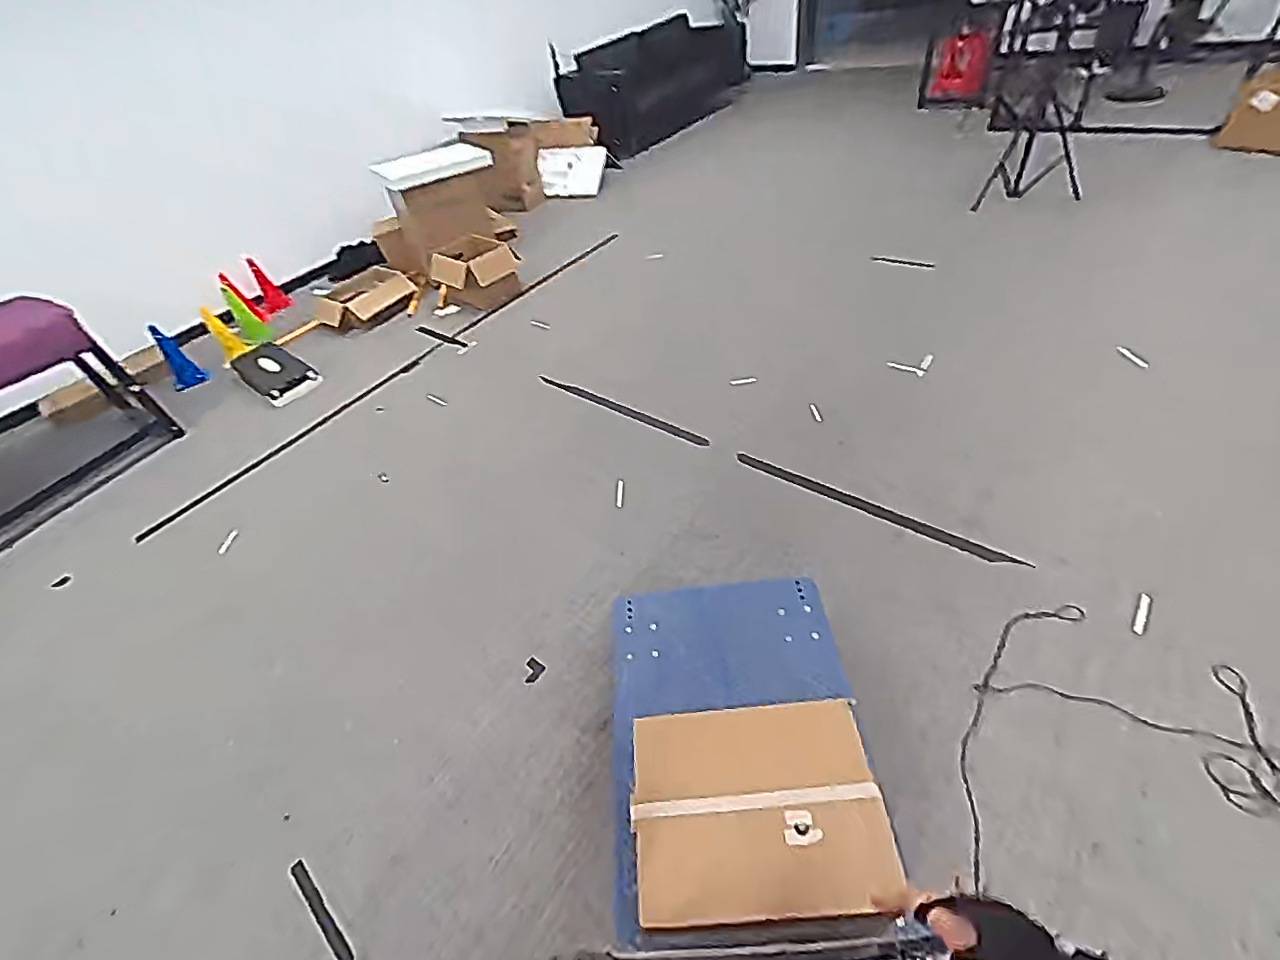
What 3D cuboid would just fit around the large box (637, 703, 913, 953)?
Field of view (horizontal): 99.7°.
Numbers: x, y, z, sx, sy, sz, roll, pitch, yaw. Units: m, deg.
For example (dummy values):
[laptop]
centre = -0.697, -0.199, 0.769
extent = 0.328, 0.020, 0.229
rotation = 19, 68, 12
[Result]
[large box]
centre = 0.216, 0.651, 1.009
extent = 0.408, 0.320, 0.320
rotation = -7, 45, 3
